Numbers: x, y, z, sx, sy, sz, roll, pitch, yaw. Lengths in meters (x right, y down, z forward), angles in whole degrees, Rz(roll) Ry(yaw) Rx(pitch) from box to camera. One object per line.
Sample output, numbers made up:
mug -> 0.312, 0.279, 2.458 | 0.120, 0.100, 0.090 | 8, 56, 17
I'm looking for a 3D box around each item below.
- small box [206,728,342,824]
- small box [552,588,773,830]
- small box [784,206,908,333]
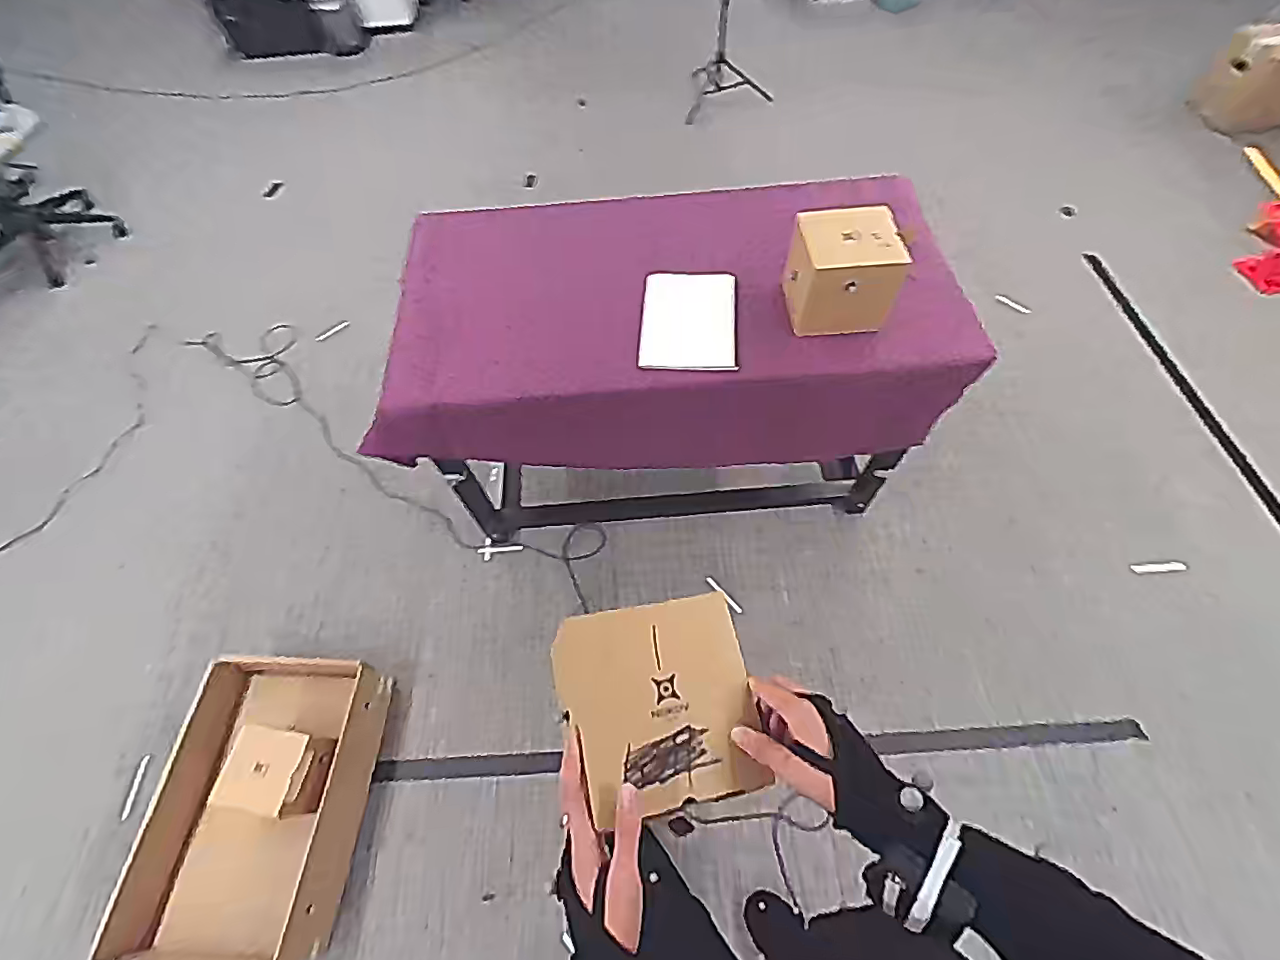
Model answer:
small box -> -0.850, 0.696, 1.280 | 0.179, 0.176, 0.168 | 8, 61, 7
small box -> 0.006, 0.224, 0.548 | 0.168, 0.176, 0.179 | -6, 65, -16
small box -> 0.388, -0.406, 1.062 | 0.179, 0.176, 0.168 | -3, 60, 1
